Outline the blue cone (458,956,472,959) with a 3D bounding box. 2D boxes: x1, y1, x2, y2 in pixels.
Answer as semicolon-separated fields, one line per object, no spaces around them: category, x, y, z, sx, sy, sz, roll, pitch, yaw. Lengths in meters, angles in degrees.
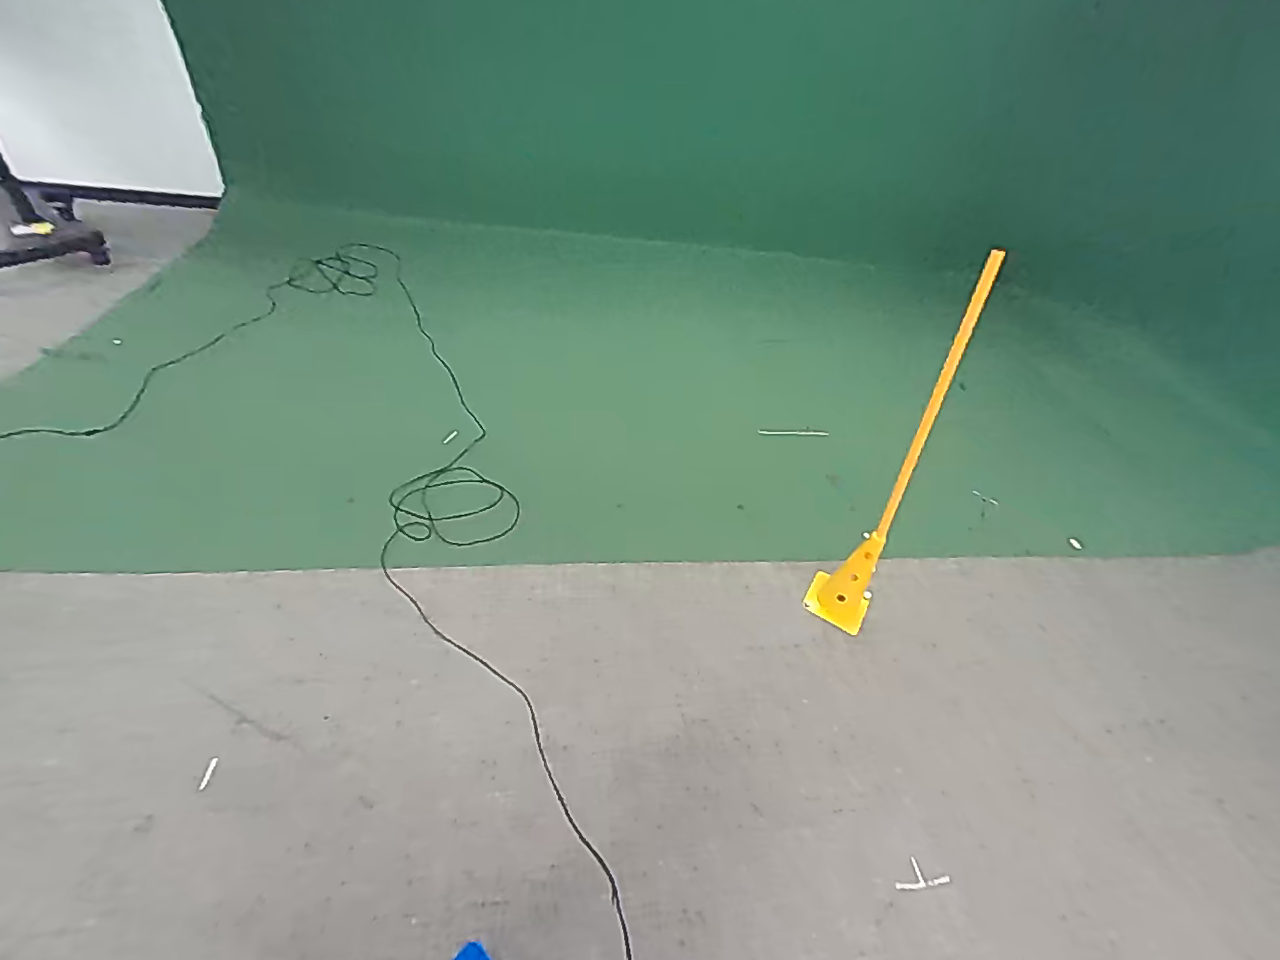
blue cone;-0.318;0.935;0.895;0.192;0.380;0.193;34;48;22
